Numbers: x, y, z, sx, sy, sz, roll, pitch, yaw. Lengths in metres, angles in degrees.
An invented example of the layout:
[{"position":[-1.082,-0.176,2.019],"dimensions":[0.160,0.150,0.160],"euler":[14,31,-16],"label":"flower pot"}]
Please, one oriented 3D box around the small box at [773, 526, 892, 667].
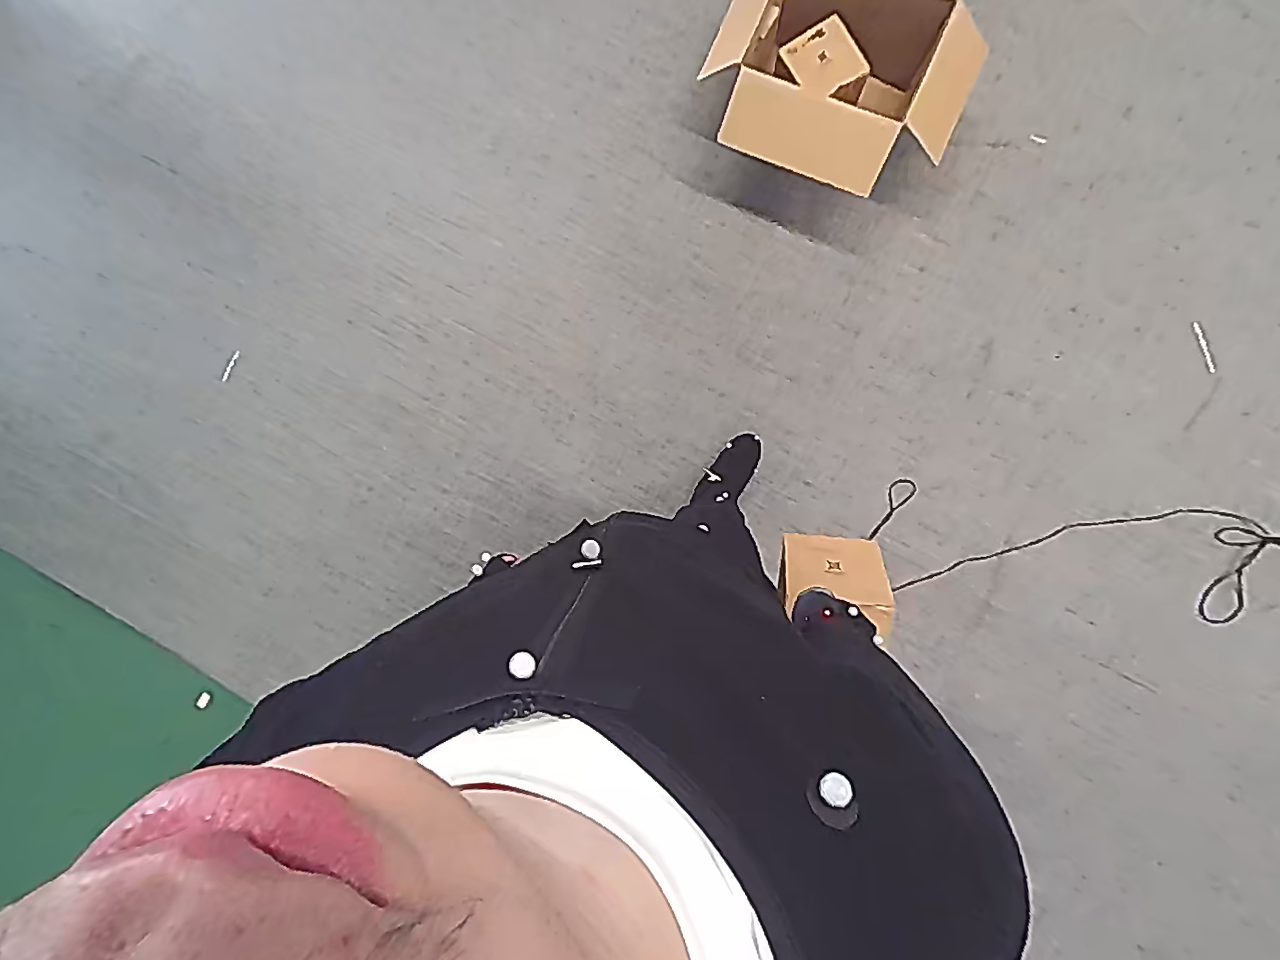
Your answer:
[{"position":[0.328,0.204,0.956],"dimensions":[0.168,0.179,0.176],"euler":[4,121,9],"label":"small box"}]
